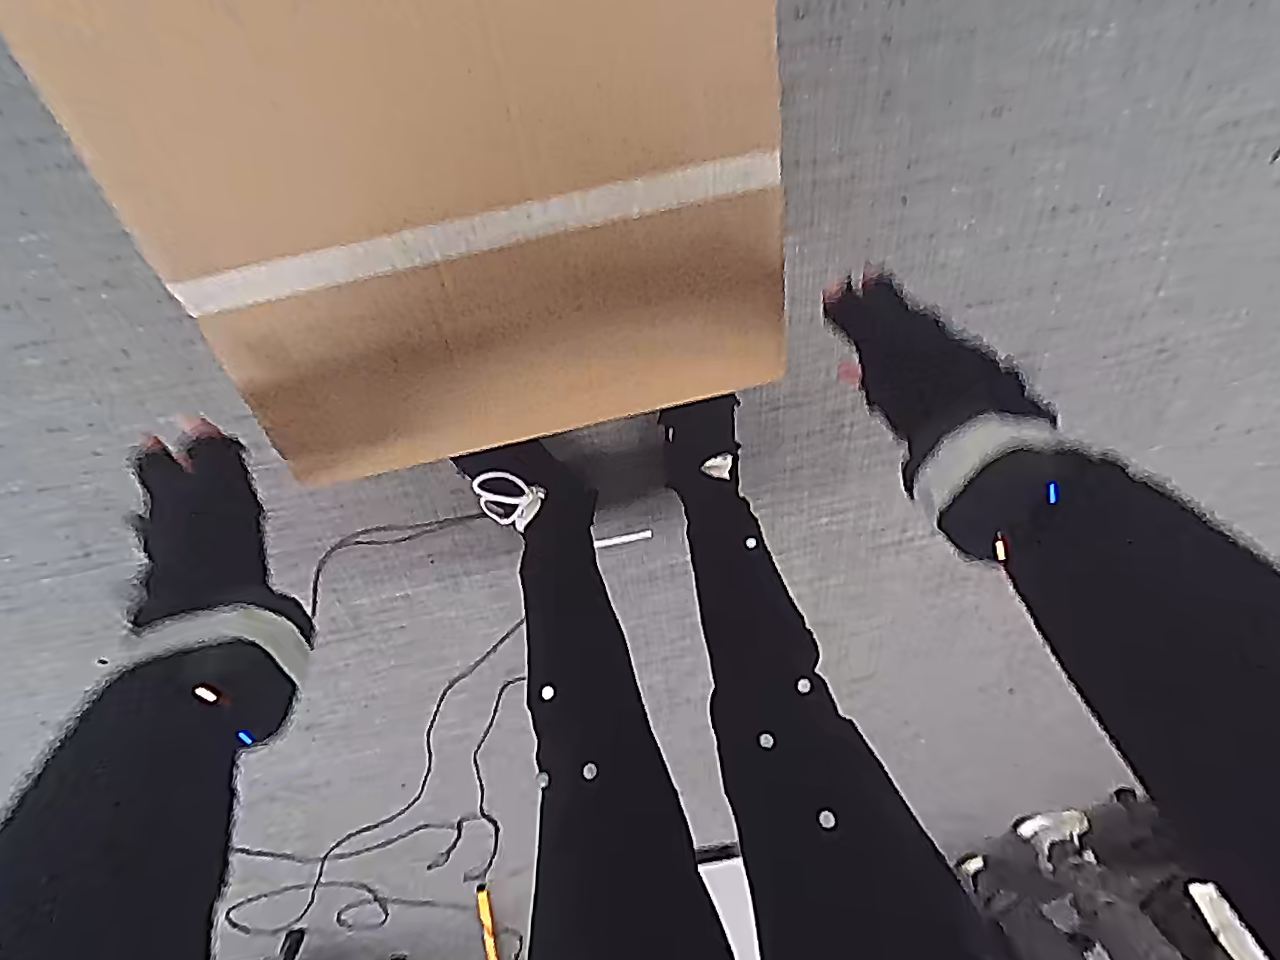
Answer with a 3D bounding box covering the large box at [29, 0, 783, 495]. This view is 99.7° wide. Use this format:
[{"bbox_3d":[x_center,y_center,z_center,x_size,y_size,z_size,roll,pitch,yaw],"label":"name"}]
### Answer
[{"bbox_3d":[-0.124,-0.236,0.488,0.408,0.320,0.320,-14,125,-1],"label":"large box"}]
